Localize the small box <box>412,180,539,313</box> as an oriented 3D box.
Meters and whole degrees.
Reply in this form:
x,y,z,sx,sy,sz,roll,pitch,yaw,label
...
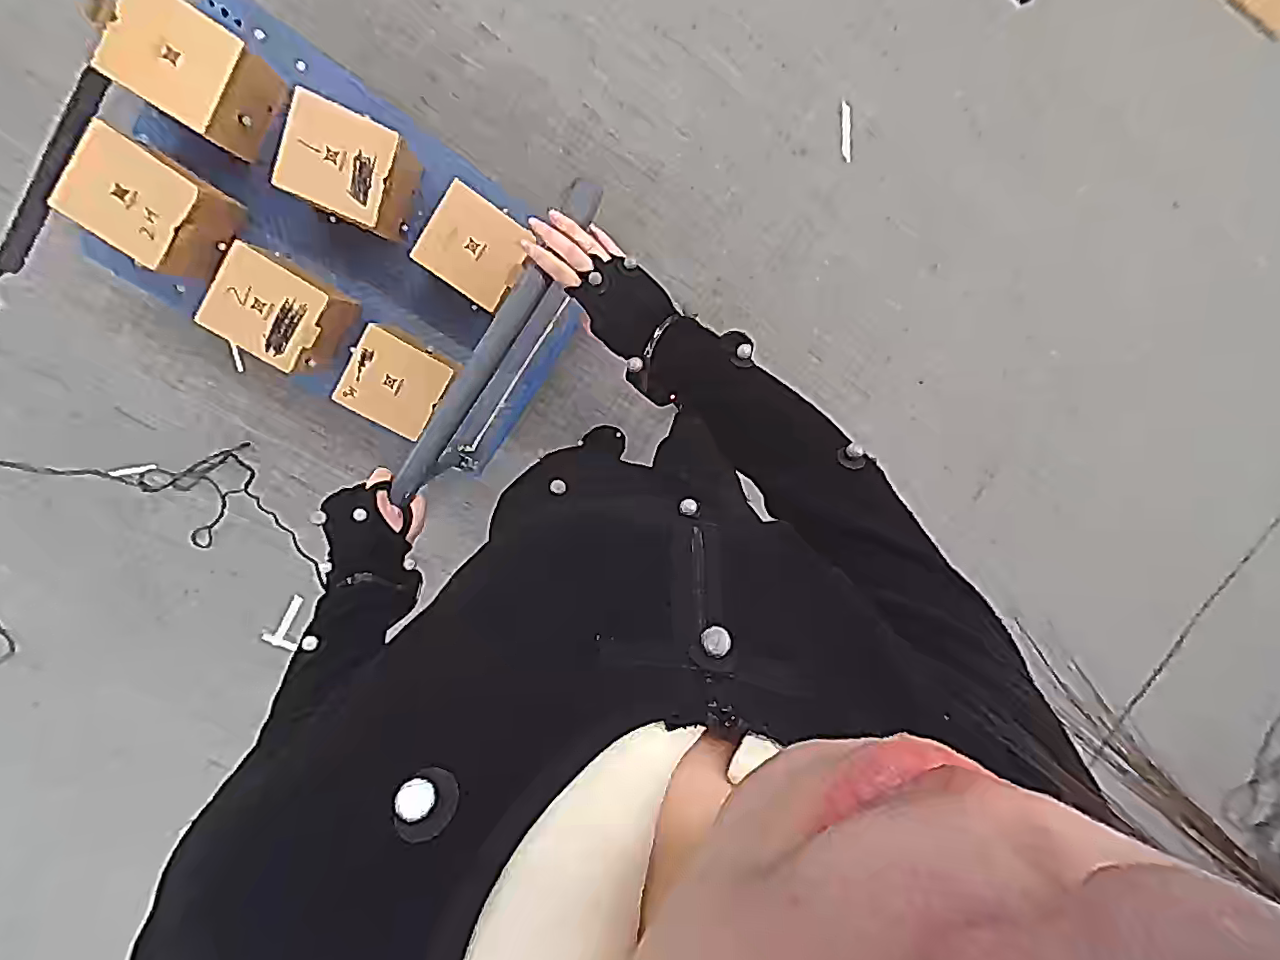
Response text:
x,y,z,sx,sy,sz,roll,pitch,yaw,label
-0.313,-0.449,1.073,0.179,0.176,0.168,33,96,-14,small box

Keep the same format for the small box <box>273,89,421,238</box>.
x,y,z,sx,sy,sz,roll,pitch,yaw,label
-0.531,-0.570,1.007,0.179,0.176,0.168,20,100,-12,small box

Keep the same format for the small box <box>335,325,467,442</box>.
x,y,z,sx,sy,sz,roll,pitch,yaw,label
-0.475,-0.200,1.107,0.179,0.176,0.168,29,97,-15,small box

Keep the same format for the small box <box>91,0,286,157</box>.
x,y,z,sx,sy,sz,roll,pitch,yaw,label
-0.764,-0.697,0.938,0.179,0.176,0.168,29,98,-15,small box

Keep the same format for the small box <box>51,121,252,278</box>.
x,y,z,sx,sy,sz,roll,pitch,yaw,label
-0.862,-0.486,0.974,0.179,0.176,0.168,34,97,-16,small box
